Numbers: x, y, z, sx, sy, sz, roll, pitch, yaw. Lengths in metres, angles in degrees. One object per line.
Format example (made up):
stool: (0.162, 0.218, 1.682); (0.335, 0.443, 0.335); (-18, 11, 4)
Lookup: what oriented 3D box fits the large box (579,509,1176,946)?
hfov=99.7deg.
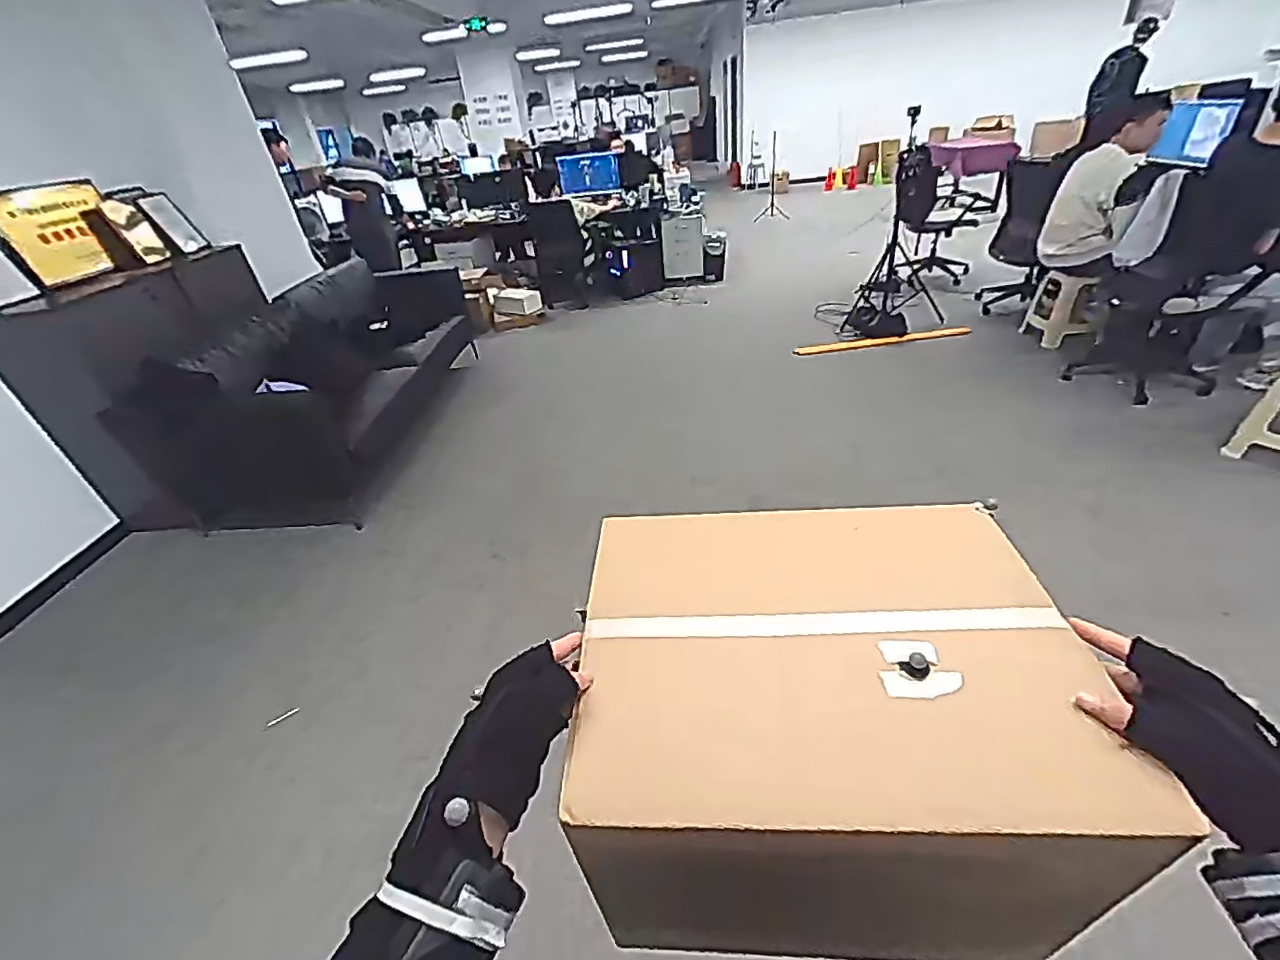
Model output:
large box: (0.169, 0.251, 0.570); (0.408, 0.320, 0.320); (-2, 37, 5)
